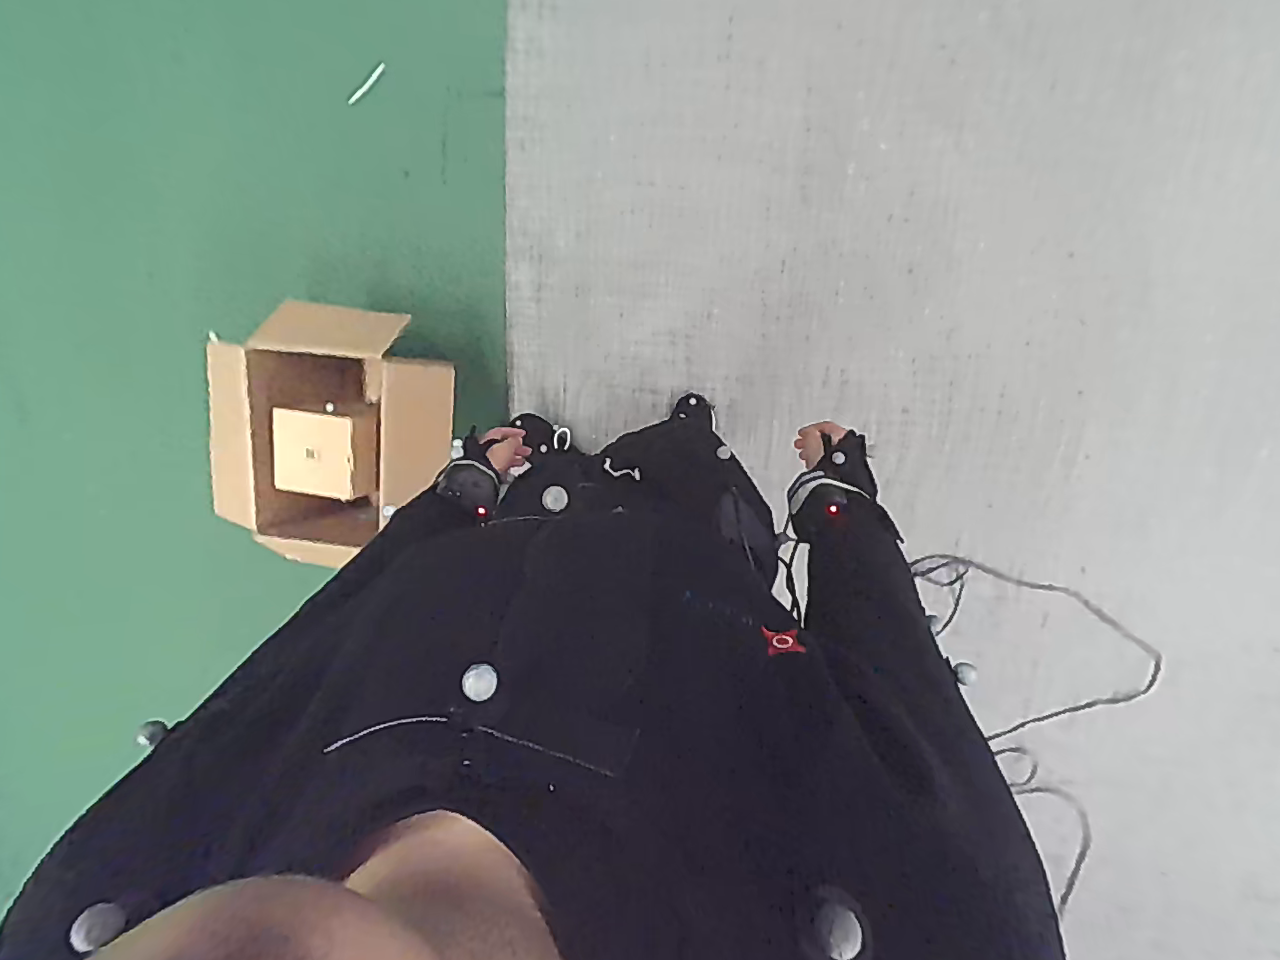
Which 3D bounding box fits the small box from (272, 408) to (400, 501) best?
[{"bbox_3d":[-0.643,-0.062,1.155,0.179,0.176,0.168,7,101,7],"label":"small box"}]
